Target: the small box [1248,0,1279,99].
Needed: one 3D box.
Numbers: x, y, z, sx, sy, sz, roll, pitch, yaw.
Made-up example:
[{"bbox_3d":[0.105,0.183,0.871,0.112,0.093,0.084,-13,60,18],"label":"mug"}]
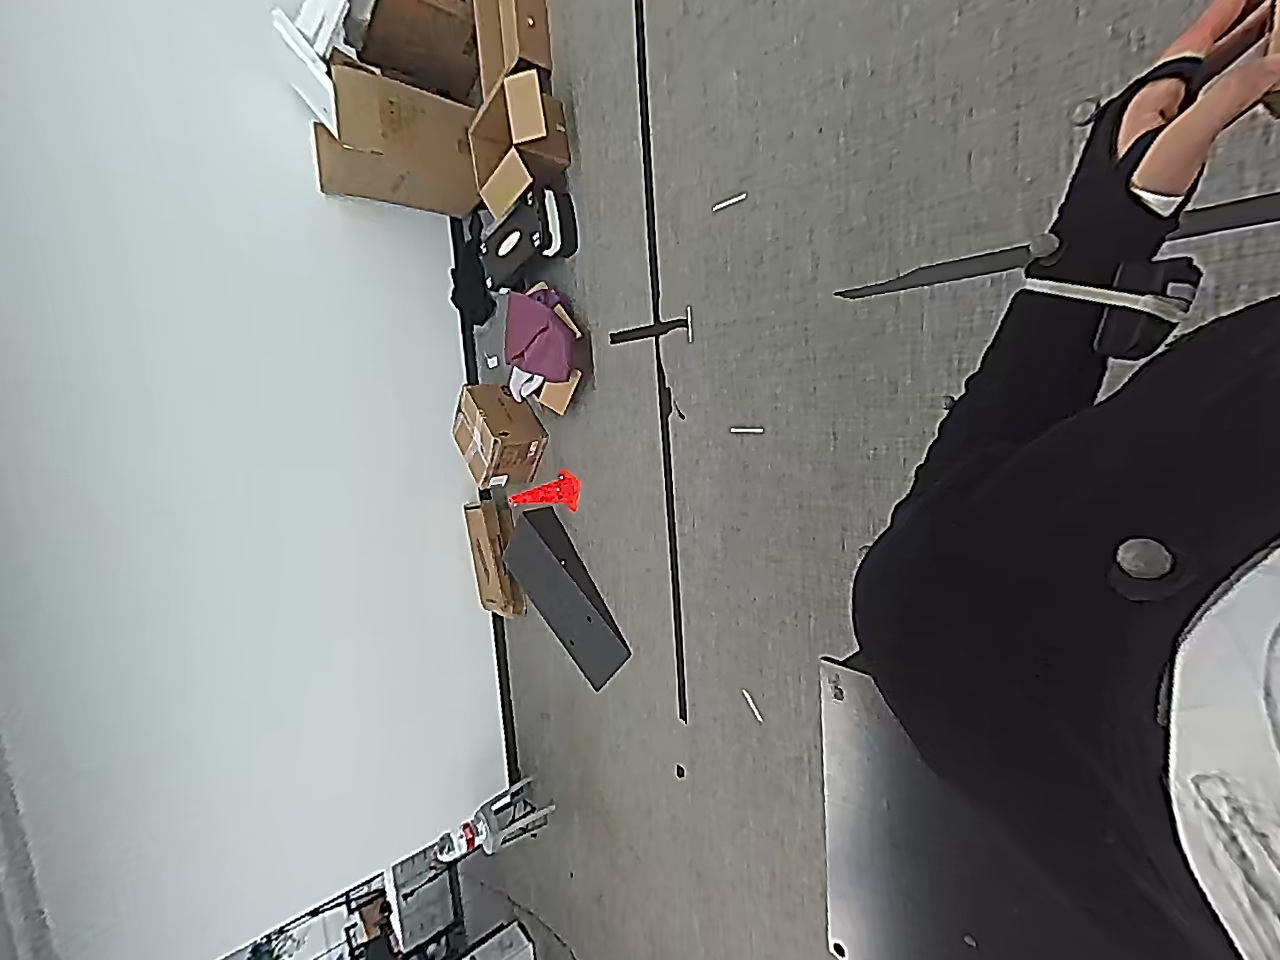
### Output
[{"bbox_3d":[0.447,-0.316,0.266,0.179,0.176,0.168,8,115,49],"label":"small box"}]
